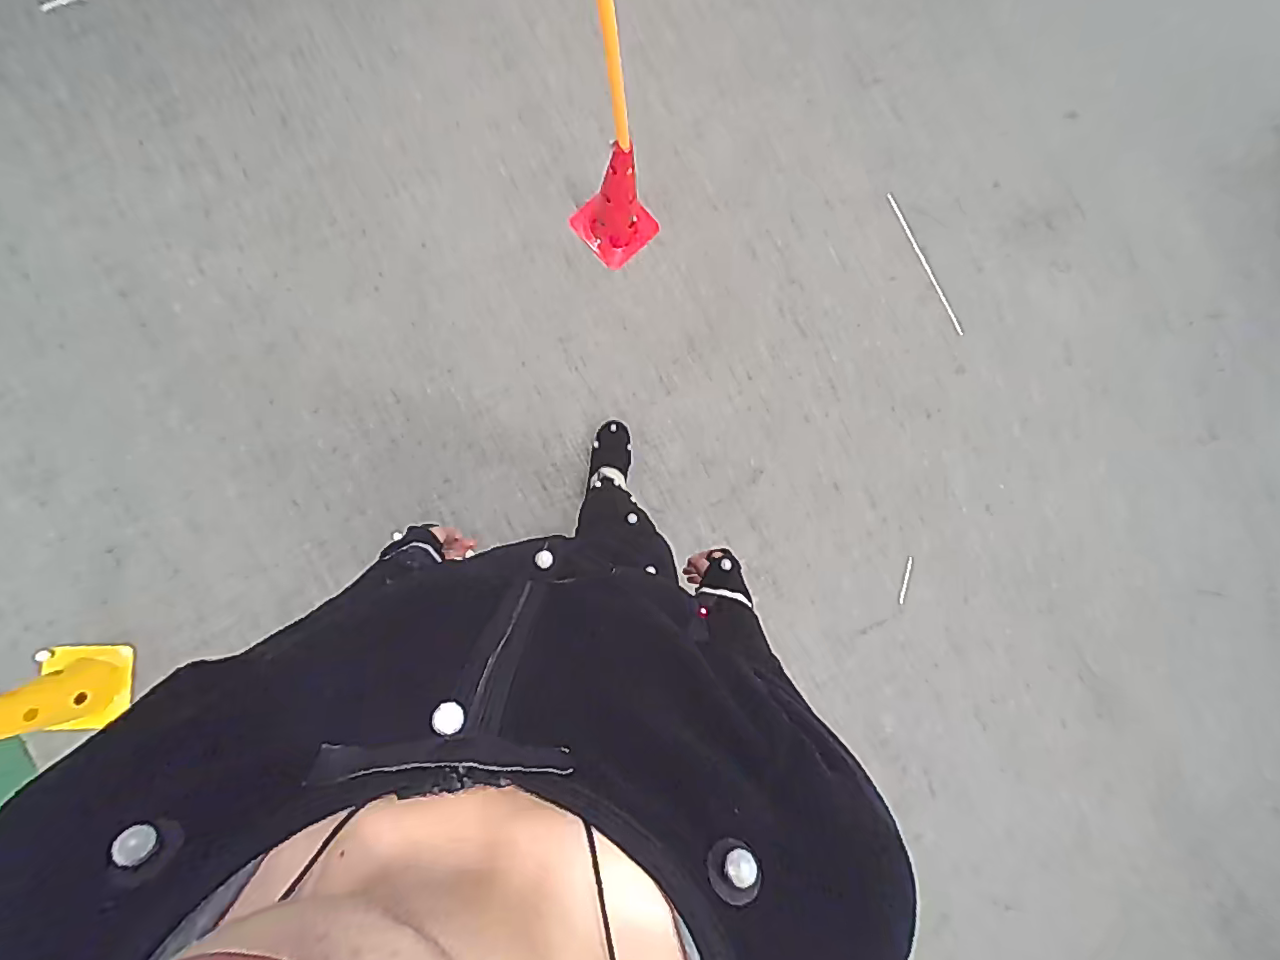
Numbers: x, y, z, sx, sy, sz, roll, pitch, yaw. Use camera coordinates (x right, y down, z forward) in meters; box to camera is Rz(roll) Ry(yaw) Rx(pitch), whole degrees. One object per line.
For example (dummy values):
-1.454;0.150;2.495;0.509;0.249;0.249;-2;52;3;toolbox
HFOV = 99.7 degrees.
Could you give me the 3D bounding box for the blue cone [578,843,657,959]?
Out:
-0.030;1.068;1.284;0.193;0.380;0.192;17;84;-8;blue cone
